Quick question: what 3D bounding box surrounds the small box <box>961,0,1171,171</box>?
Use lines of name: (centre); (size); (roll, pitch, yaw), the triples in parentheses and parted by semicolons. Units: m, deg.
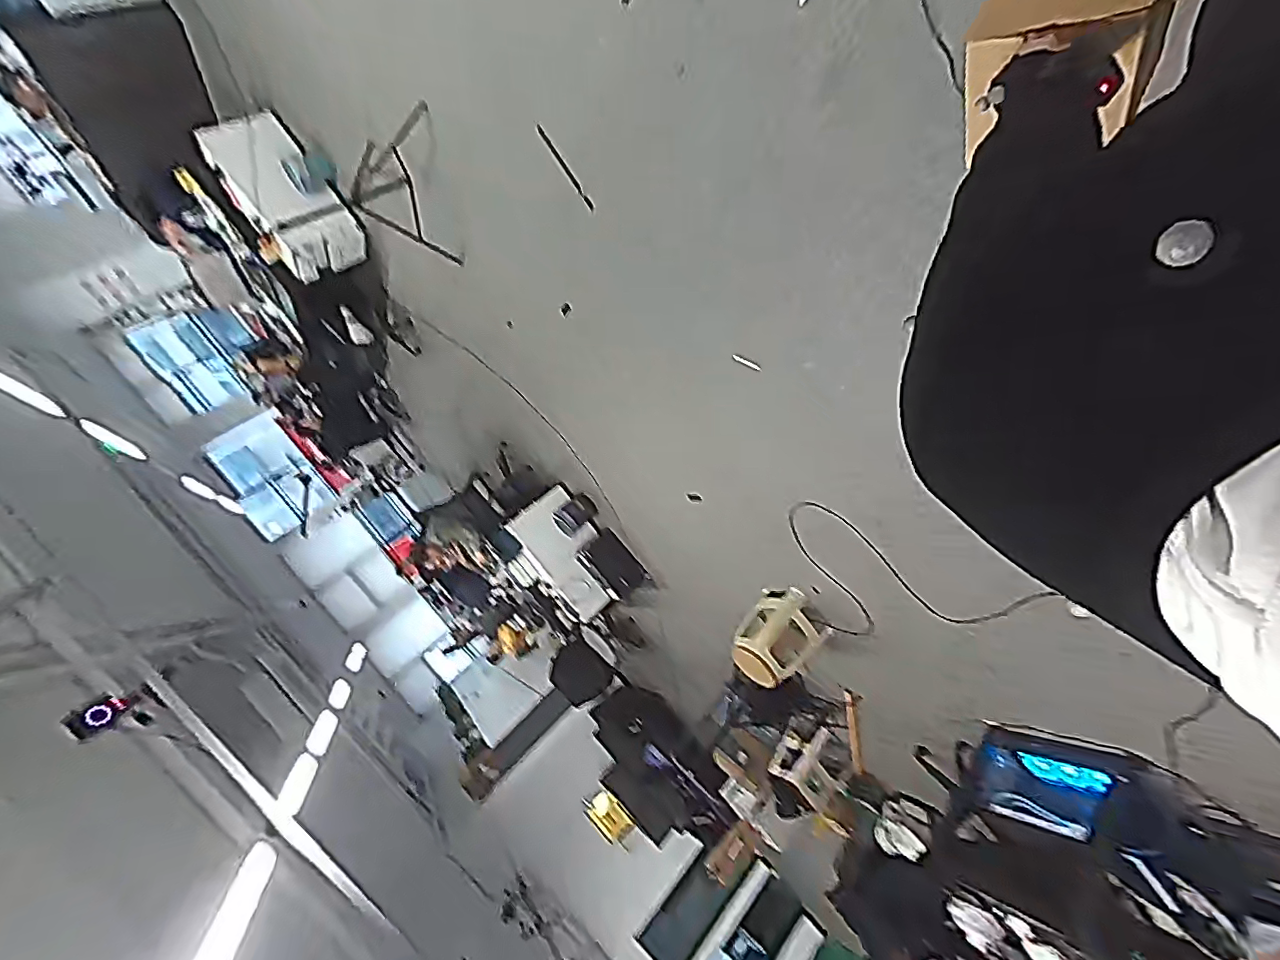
small box: (0.515, -0.505, 0.658); (0.168, 0.179, 0.176); (20, 166, 38)
